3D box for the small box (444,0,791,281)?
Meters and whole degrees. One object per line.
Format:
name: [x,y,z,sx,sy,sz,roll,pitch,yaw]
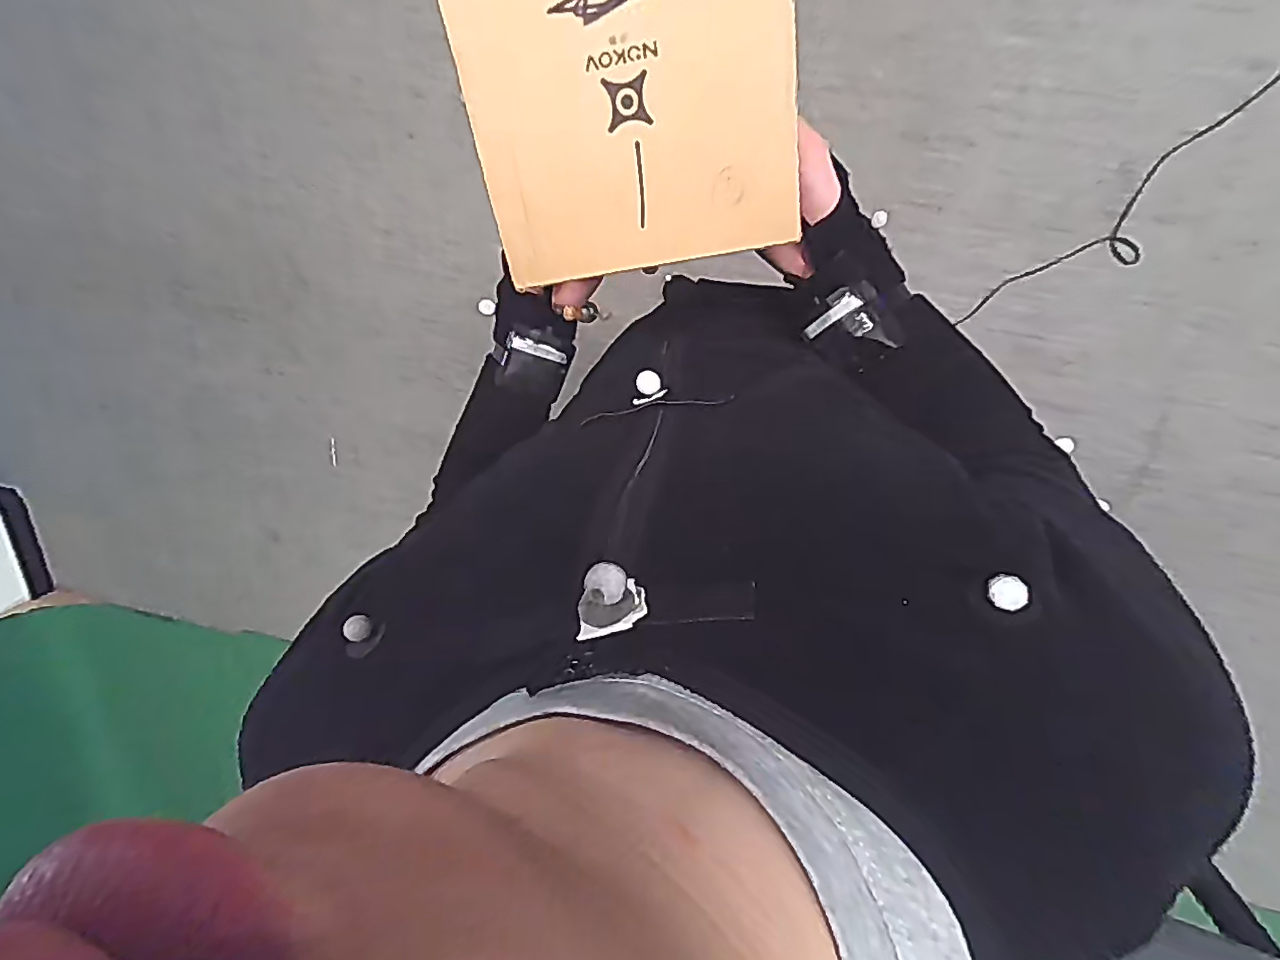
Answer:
small box: [-0.006,-0.238,0.339,0.168,0.176,0.179,-6,119,6]
